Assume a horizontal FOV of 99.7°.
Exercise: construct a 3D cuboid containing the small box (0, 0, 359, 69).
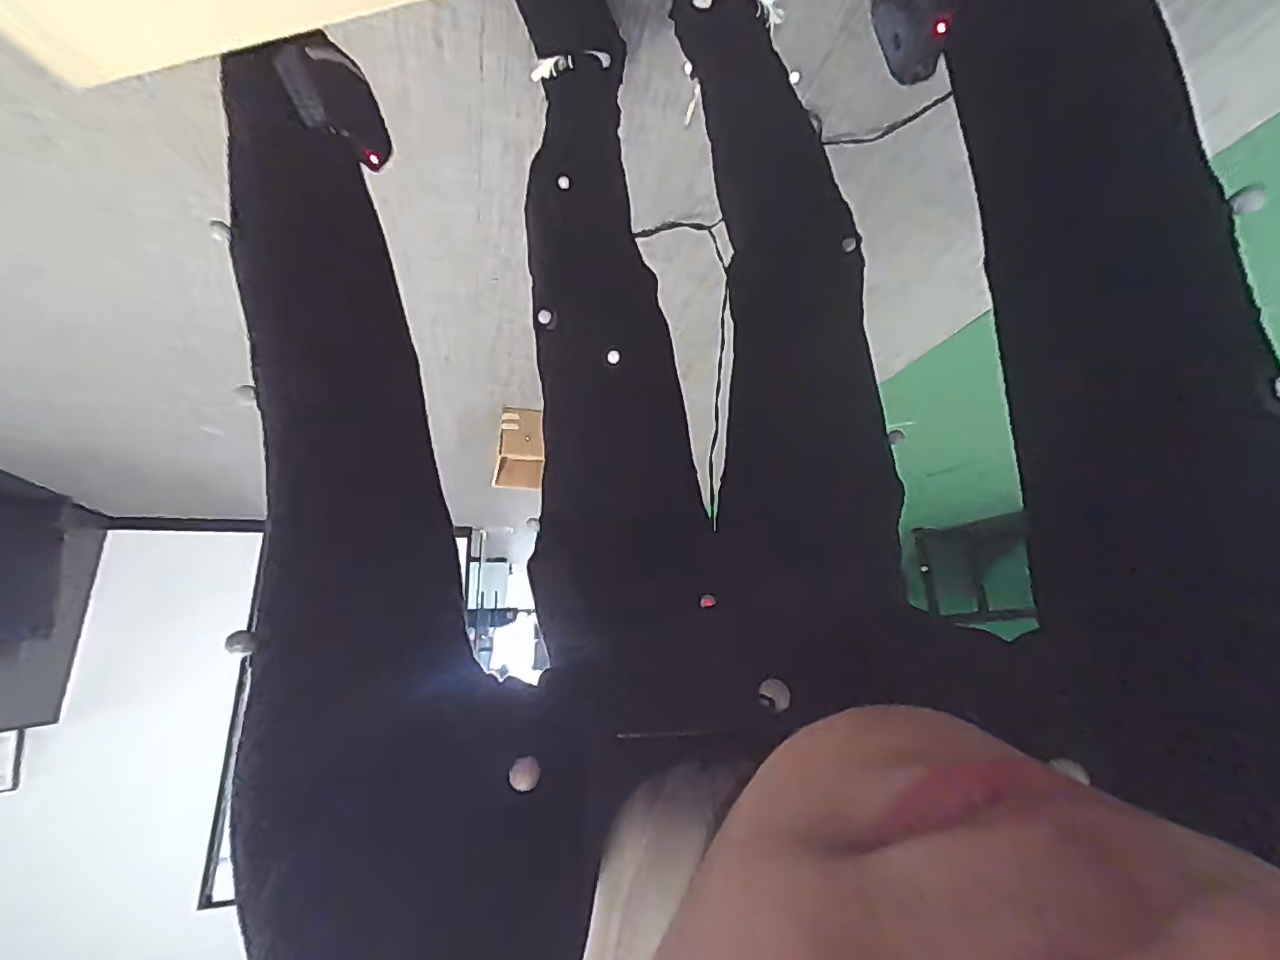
[{"bbox_3d":[-0.161,-0.274,0.149,0.168,0.176,0.179,-5,162,10],"label":"small box"}]
